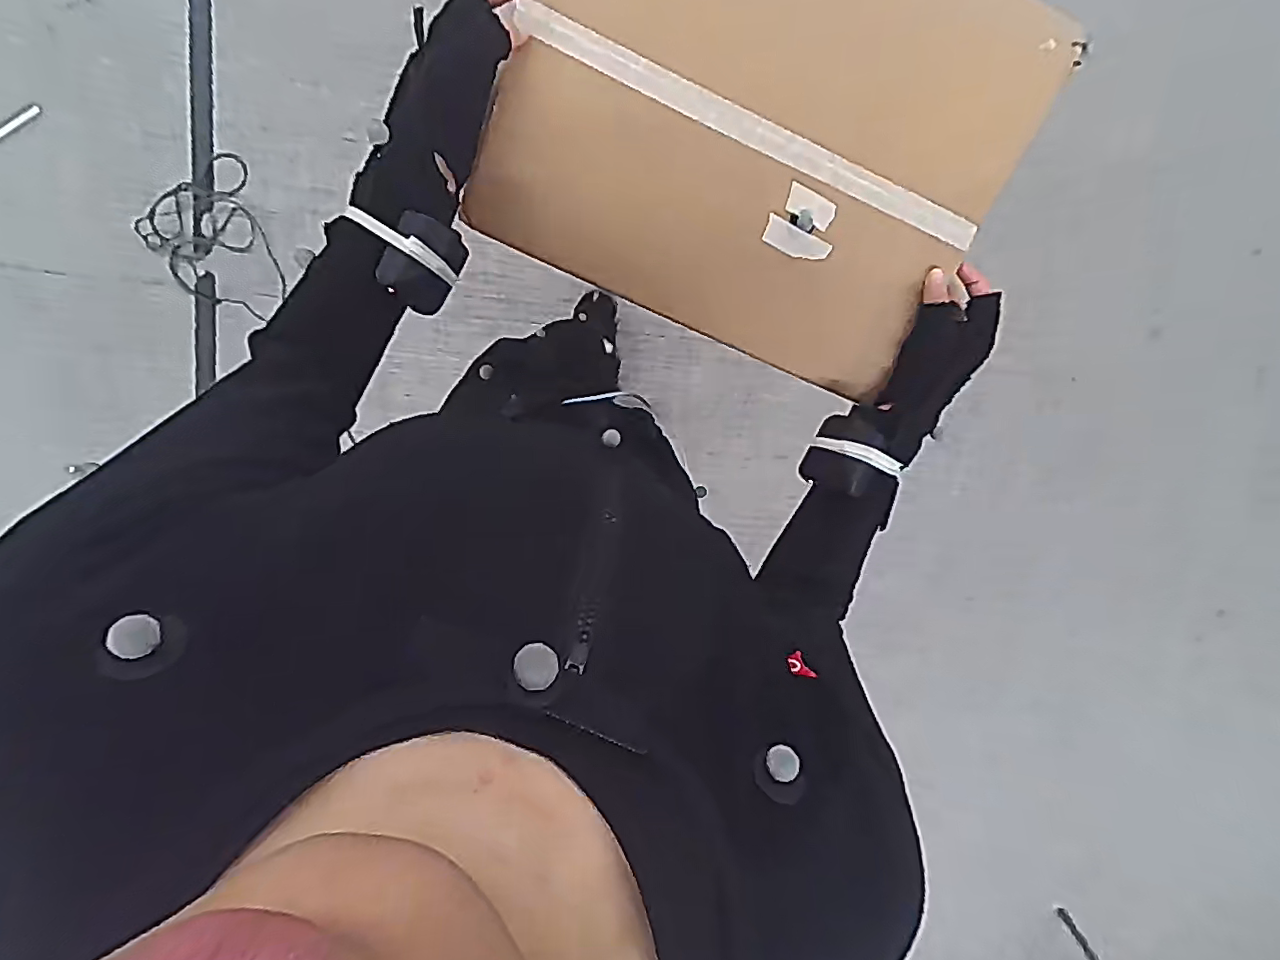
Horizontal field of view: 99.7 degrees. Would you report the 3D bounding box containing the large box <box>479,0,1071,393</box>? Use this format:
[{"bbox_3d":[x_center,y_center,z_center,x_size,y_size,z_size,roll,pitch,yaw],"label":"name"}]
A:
[{"bbox_3d":[0.098,-0.335,0.583,0.408,0.320,0.320,22,110,-8],"label":"large box"}]
